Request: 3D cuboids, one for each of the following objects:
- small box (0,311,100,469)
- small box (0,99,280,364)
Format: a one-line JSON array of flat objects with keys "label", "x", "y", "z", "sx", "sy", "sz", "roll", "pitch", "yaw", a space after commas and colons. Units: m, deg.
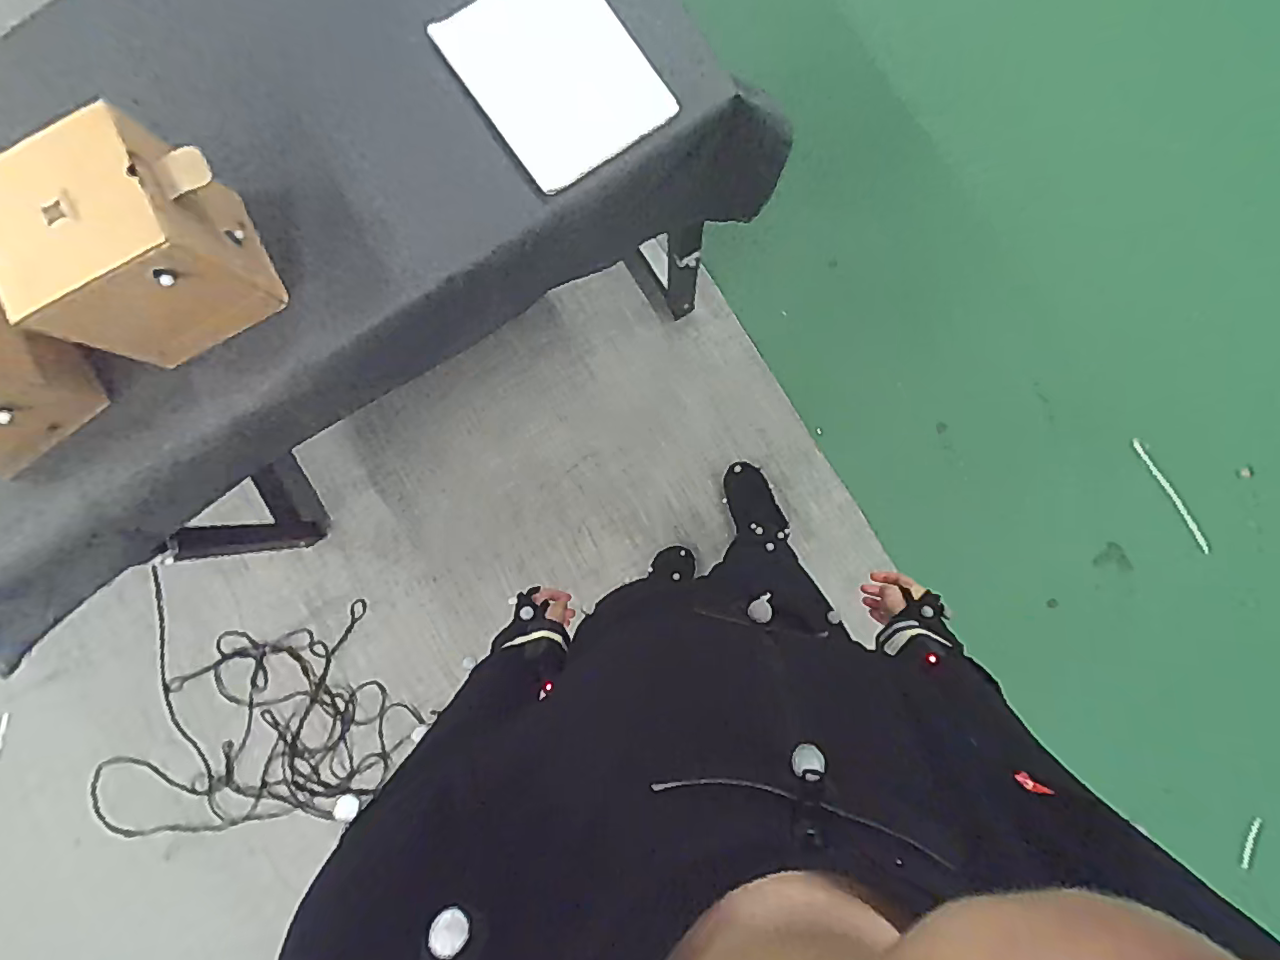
[{"label": "small box", "x": -0.779, "y": -0.121, "z": 0.600, "sx": 0.168, "sy": 0.176, "sz": 0.179, "roll": -37, "pitch": 84, "yaw": -1}, {"label": "small box", "x": -0.556, "y": -0.253, "z": 0.597, "sx": 0.179, "sy": 0.176, "sz": 0.168, "roll": -29, "pitch": 85, "yaw": 0}]
